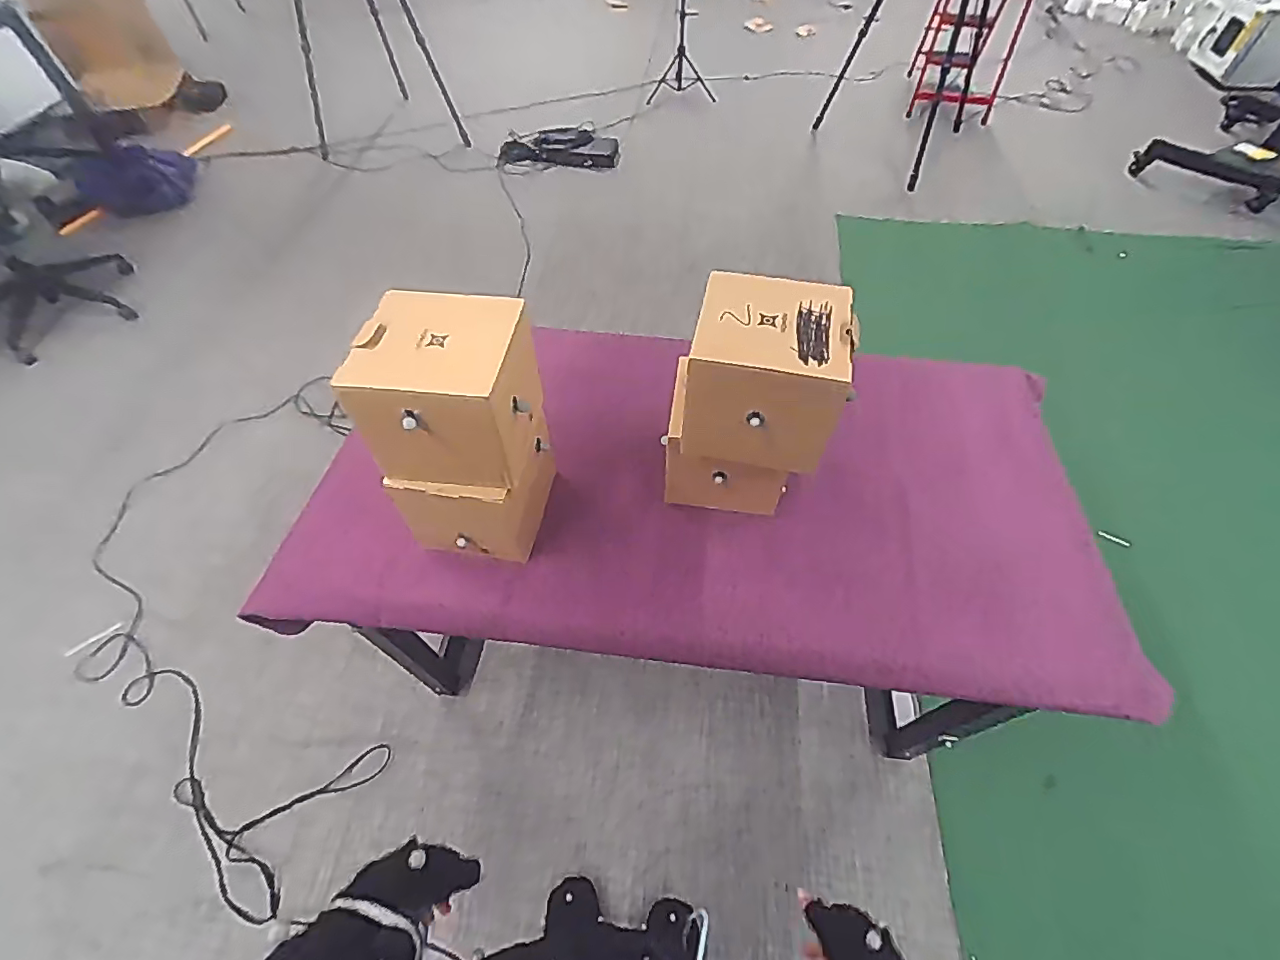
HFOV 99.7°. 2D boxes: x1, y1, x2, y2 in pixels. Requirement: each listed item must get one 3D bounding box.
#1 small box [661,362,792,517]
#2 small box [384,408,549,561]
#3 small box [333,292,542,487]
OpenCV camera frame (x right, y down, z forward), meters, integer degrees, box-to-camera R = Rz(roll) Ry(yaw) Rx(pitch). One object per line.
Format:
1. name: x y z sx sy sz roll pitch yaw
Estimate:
1. small box: 0.131 -0.057 0.845 0.179 0.176 0.168 7 55 5
2. small box: -0.238 -0.004 0.800 0.168 0.176 0.179 9 55 5
3. small box: -0.230 -0.107 0.674 0.179 0.176 0.168 6 55 3
